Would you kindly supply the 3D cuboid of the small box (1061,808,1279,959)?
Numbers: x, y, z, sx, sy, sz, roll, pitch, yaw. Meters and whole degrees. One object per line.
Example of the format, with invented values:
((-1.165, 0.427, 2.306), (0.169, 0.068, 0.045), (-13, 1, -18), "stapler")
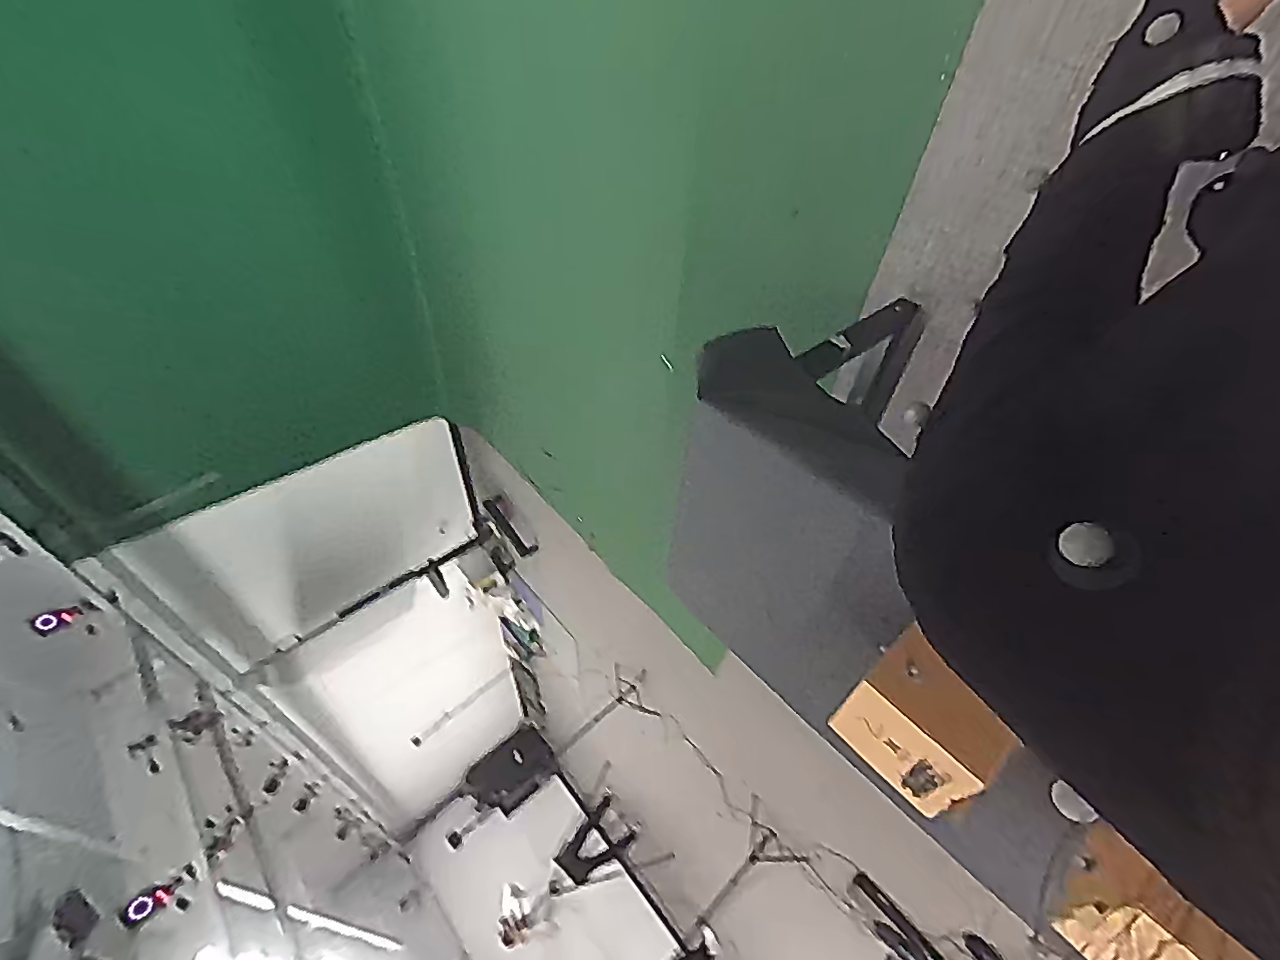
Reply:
((0.644, 0.511, 0.614), (0.179, 0.176, 0.168), (38, 146, 31), "small box")
